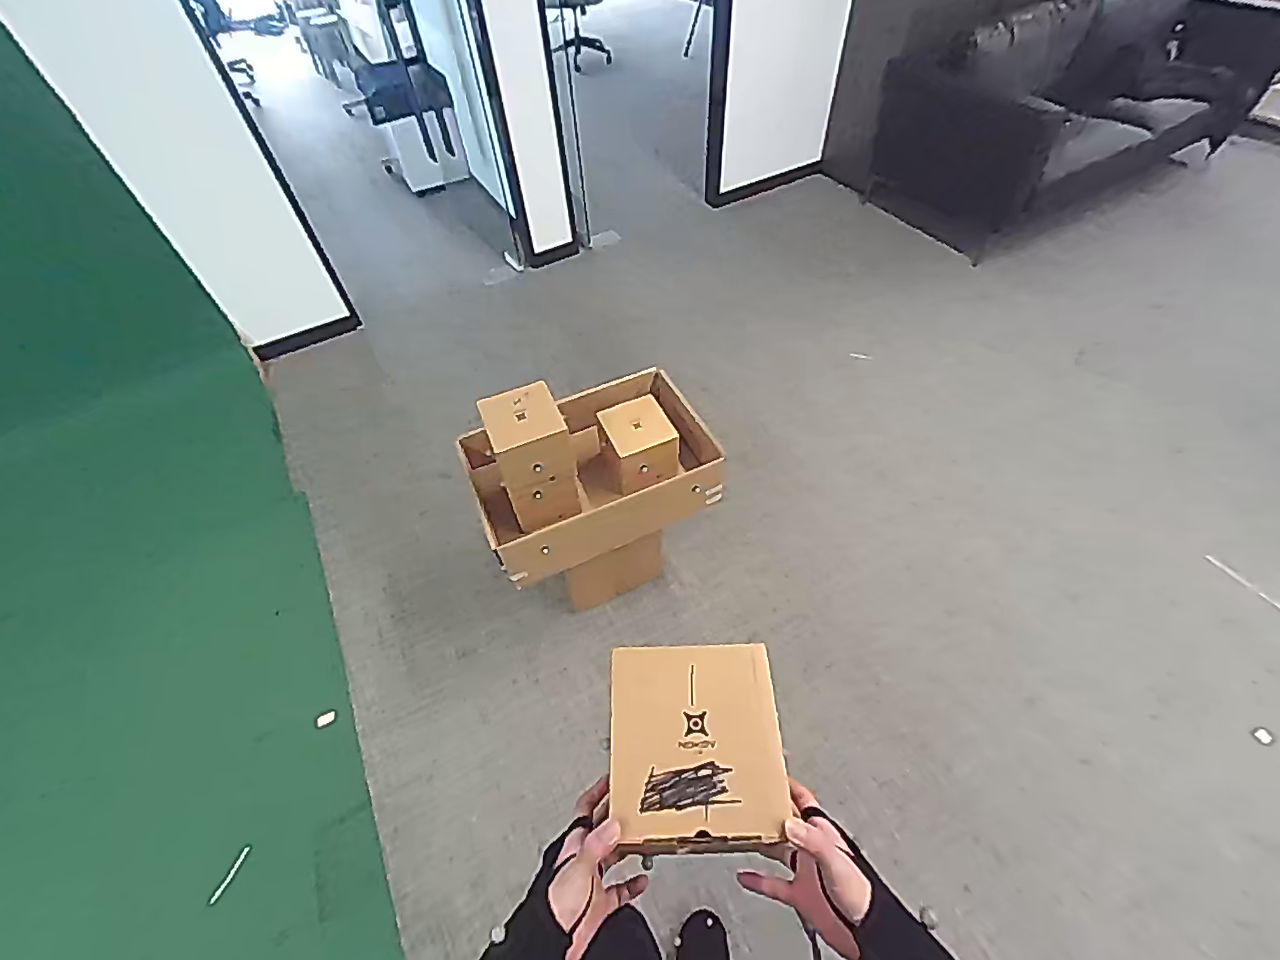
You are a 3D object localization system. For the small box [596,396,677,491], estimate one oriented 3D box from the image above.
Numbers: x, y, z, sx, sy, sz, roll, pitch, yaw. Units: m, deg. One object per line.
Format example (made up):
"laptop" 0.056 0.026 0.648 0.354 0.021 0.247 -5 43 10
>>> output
"small box" -0.006 -0.091 1.464 0.168 0.176 0.179 -21 54 -12

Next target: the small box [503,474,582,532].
"small box" -0.261 0.004 1.403 0.168 0.176 0.179 -20 53 -11

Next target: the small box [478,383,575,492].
"small box" -0.262 -0.092 1.270 0.168 0.176 0.179 -20 54 -13

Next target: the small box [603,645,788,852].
"small box" 0.053 0.294 0.586 0.168 0.176 0.179 -1 52 1
